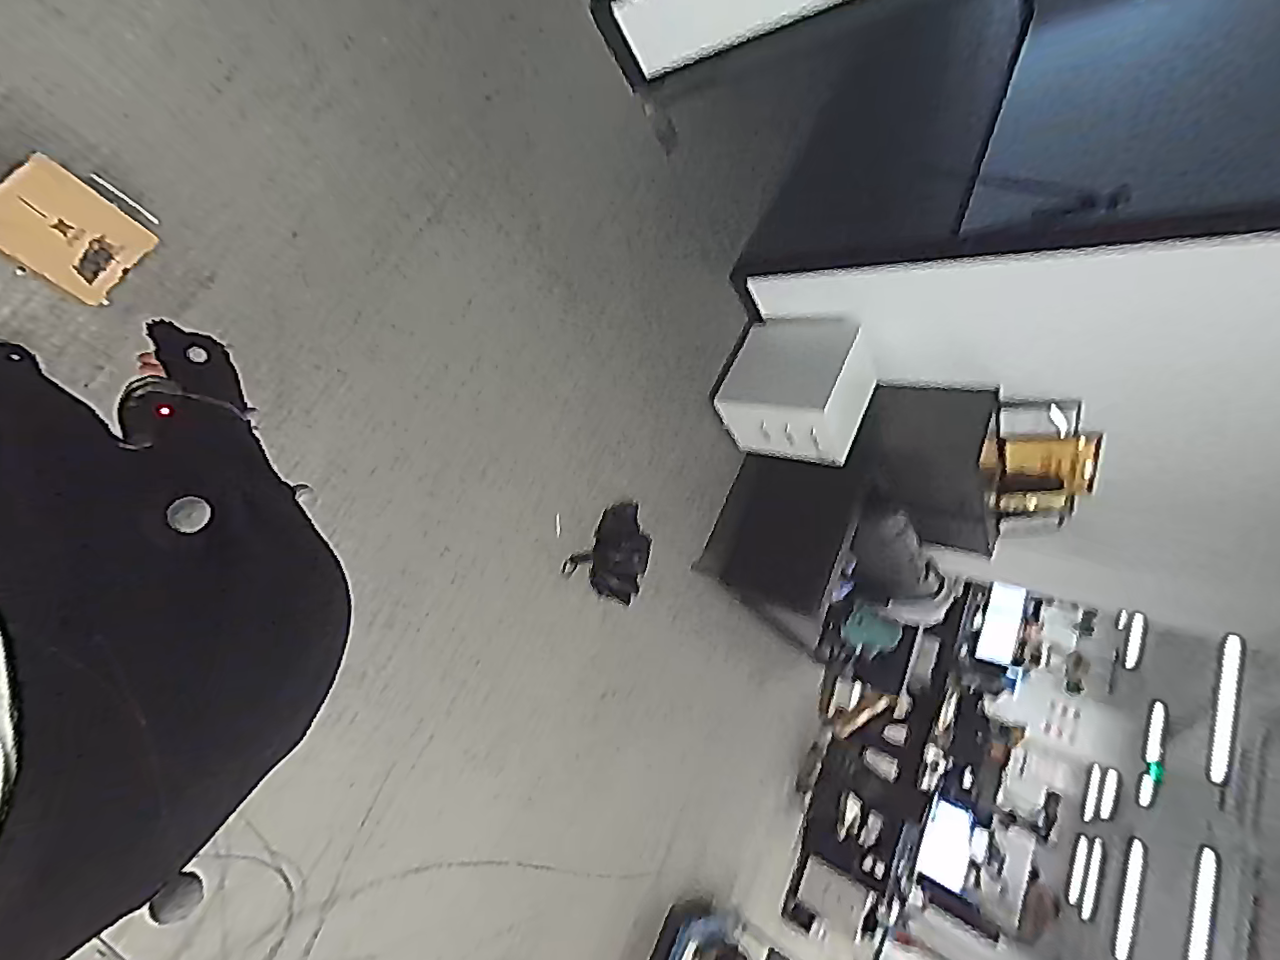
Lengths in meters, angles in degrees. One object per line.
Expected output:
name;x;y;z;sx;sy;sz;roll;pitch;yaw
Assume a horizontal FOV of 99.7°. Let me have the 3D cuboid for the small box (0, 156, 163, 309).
small box;-1.003;-0.421;0.949;0.179;0.176;0.168;45;64;-44
